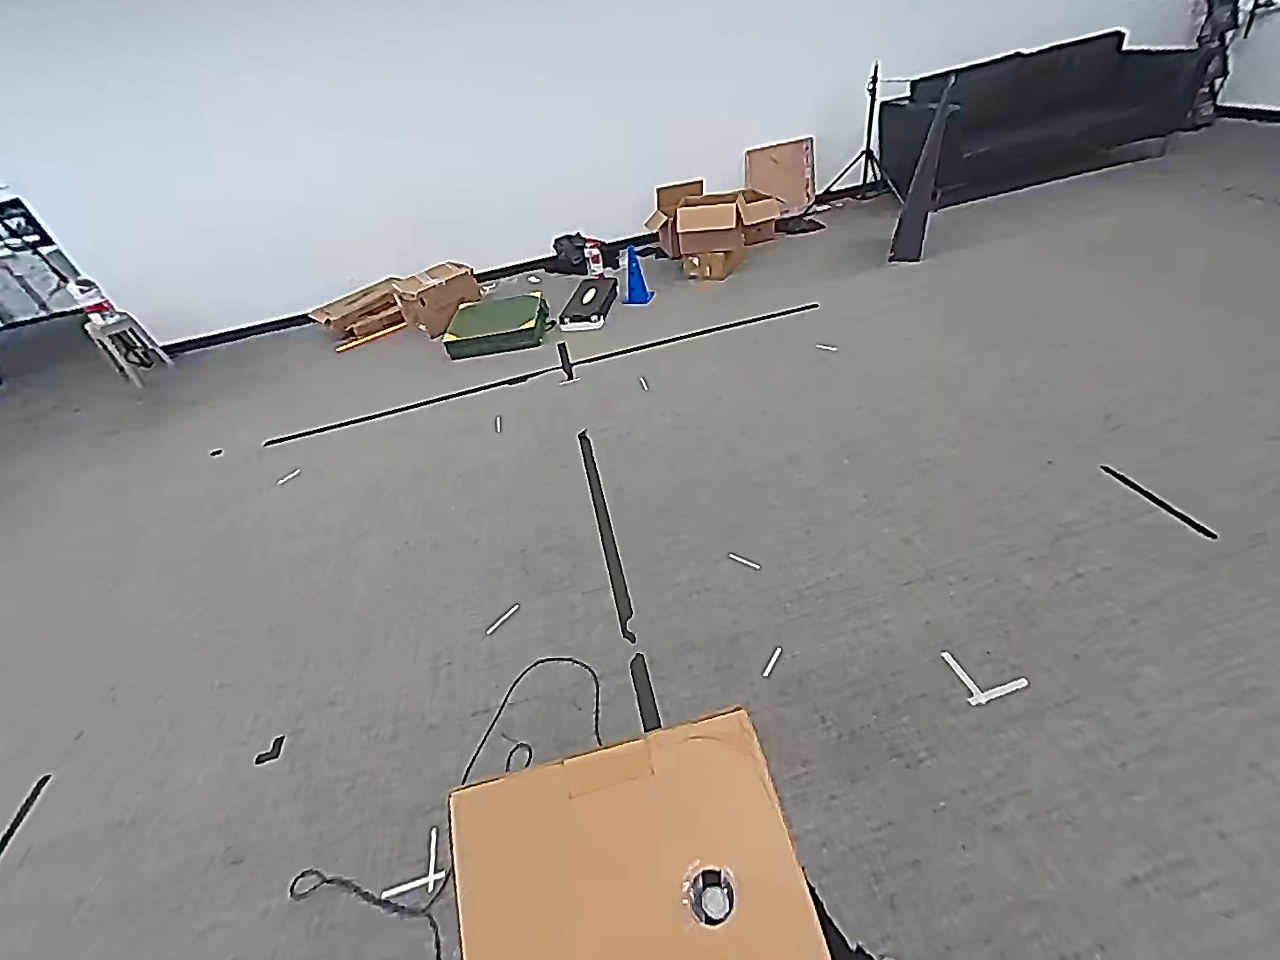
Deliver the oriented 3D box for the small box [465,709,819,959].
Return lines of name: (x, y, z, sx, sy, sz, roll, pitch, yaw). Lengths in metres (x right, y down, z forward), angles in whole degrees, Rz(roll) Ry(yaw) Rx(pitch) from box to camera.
small box: (0.001, 0.260, 0.346, 0.168, 0.179, 0.176, -12, 65, -8)
